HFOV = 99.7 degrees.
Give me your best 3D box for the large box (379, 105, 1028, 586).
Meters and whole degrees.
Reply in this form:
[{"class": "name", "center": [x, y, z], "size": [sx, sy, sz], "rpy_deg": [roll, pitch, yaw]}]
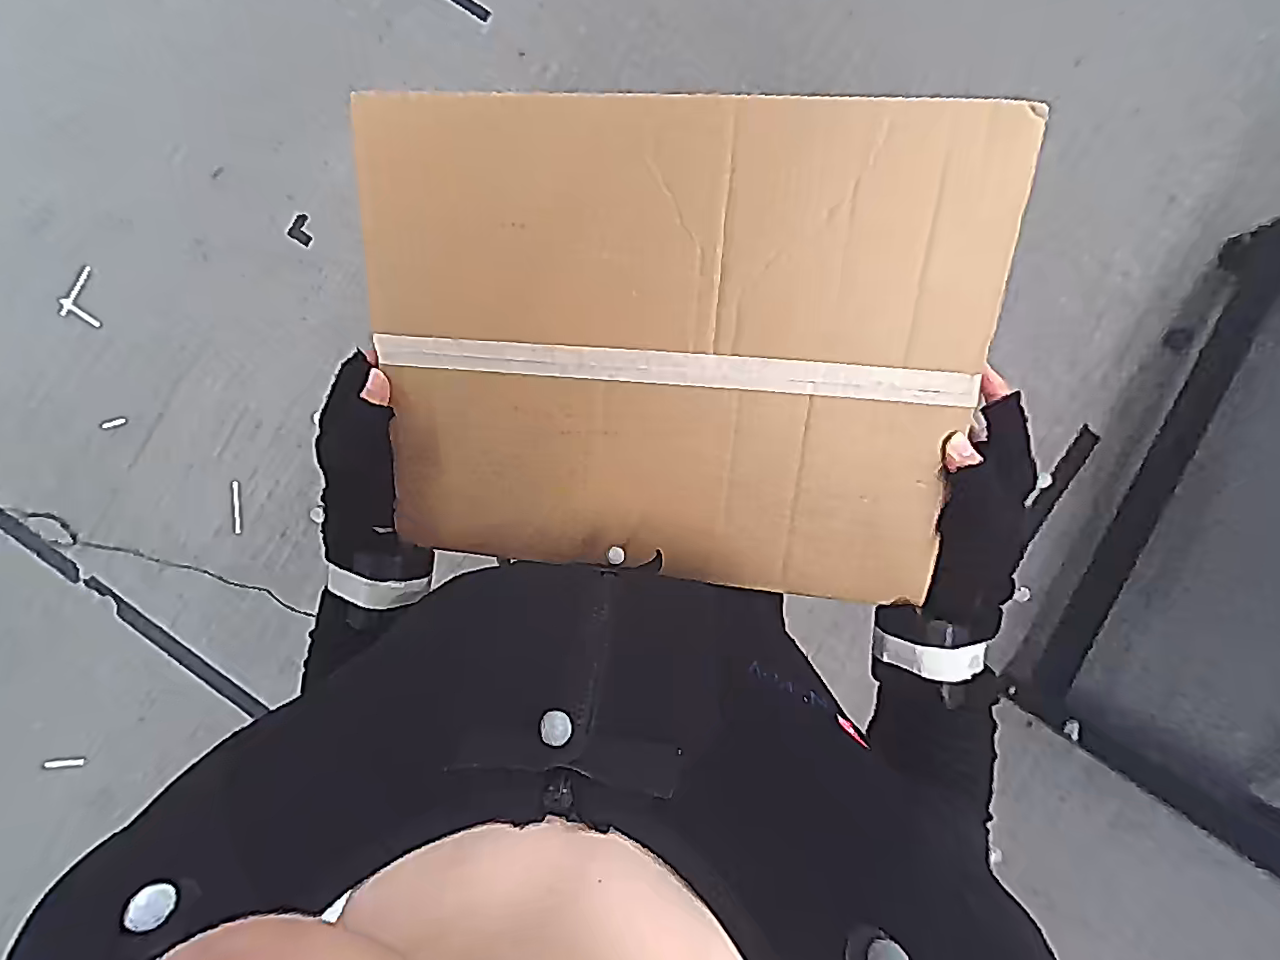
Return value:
[{"class": "large box", "center": [0.038, -0.127, 0.516], "size": [0.408, 0.320, 0.320], "rpy_deg": [6, 110, 7]}]
